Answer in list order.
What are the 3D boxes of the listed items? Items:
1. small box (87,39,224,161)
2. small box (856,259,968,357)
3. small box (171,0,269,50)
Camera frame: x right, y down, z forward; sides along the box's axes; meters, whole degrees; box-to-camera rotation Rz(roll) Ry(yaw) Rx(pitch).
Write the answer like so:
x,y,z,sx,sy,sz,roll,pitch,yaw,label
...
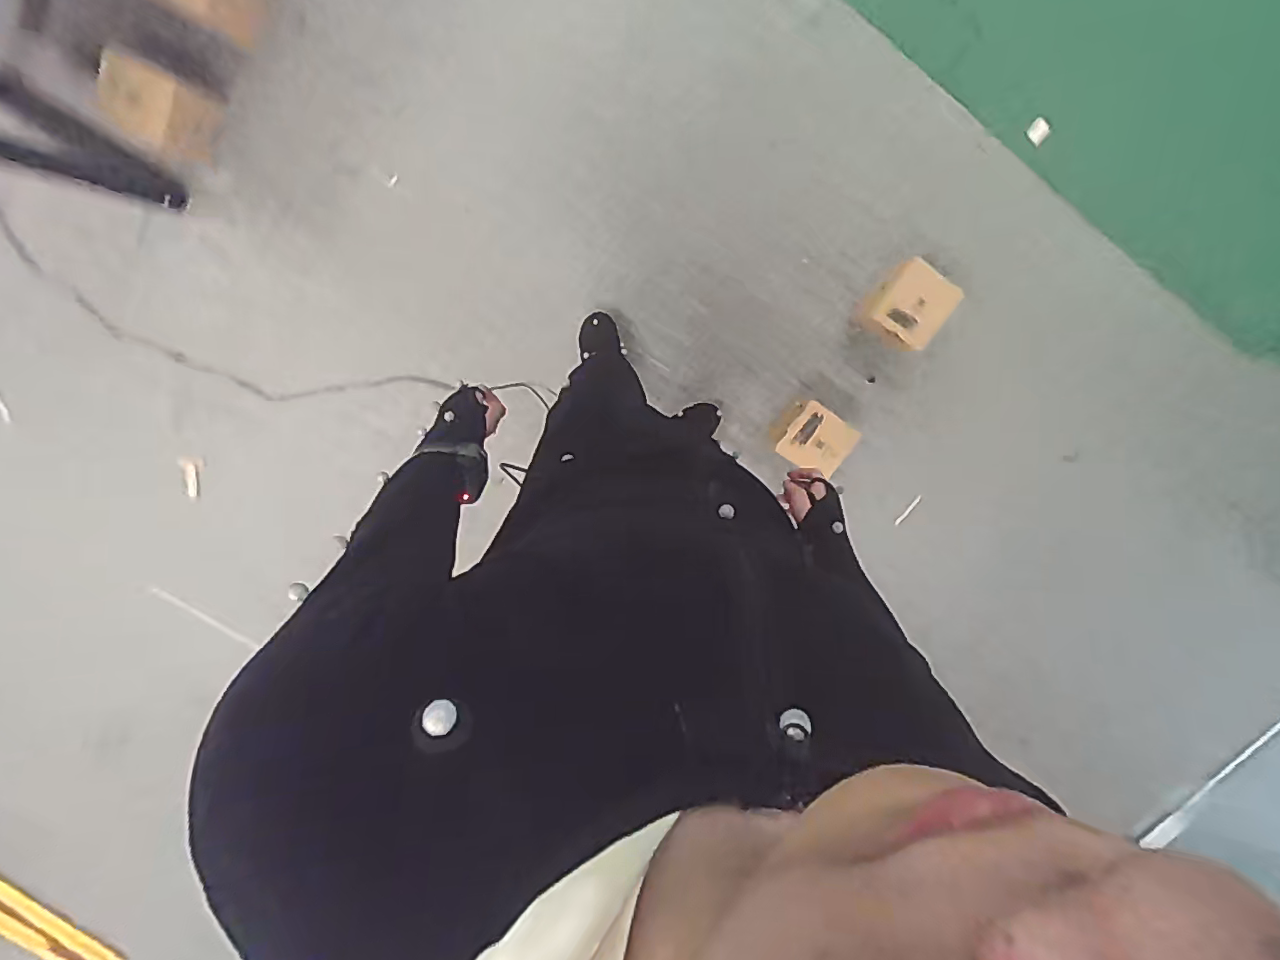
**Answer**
x,y,z,sx,sy,sz,roll,pitch,yaw,label
-1.192,-0.927,1.343,0.179,0.176,0.168,26,103,-5,small box
0.692,-0.438,1.408,0.168,0.176,0.179,35,101,-7,small box
-1.018,-1.184,1.276,0.168,0.176,0.179,28,104,-4,small box
